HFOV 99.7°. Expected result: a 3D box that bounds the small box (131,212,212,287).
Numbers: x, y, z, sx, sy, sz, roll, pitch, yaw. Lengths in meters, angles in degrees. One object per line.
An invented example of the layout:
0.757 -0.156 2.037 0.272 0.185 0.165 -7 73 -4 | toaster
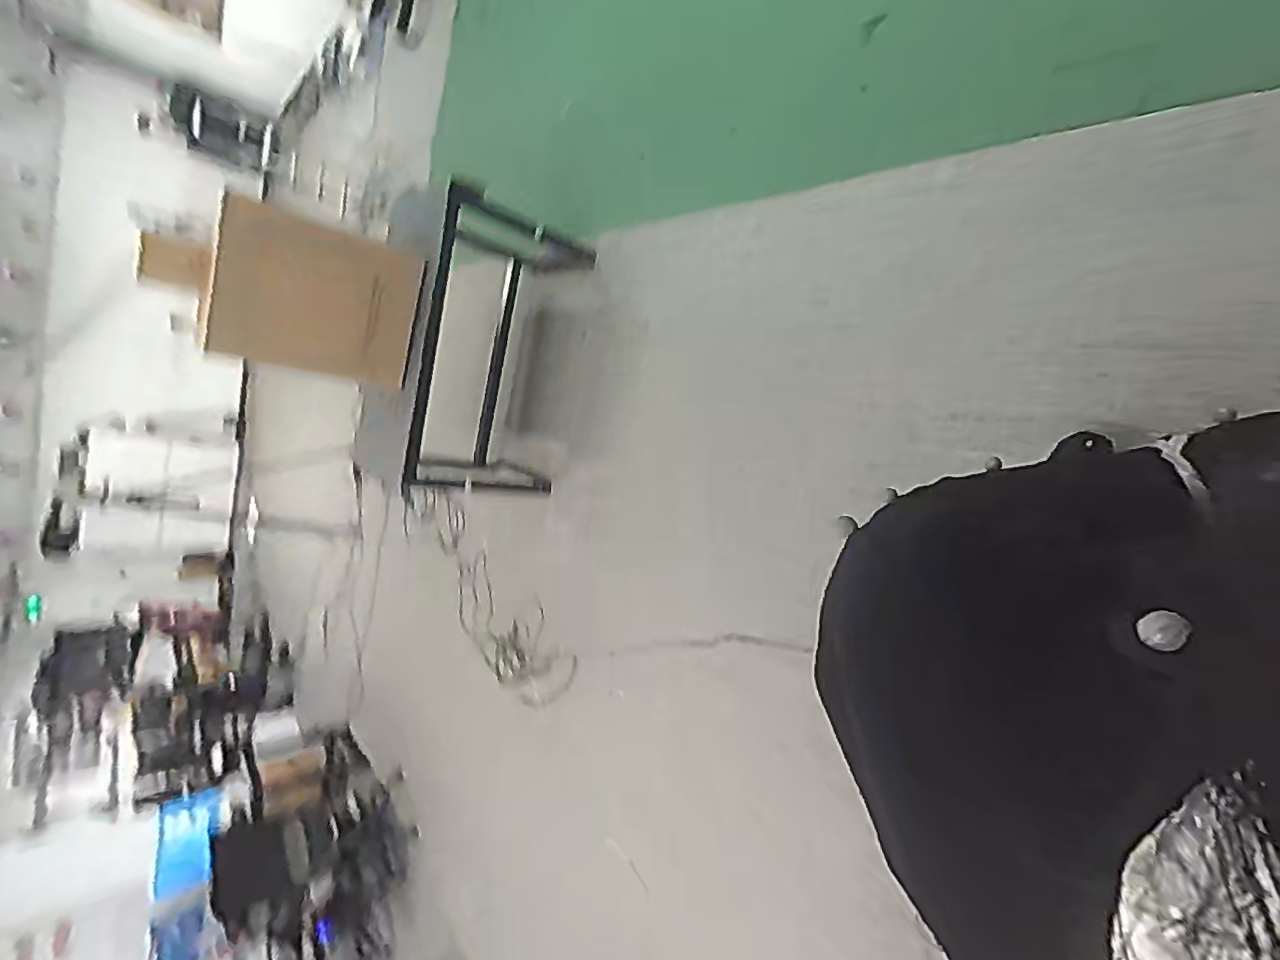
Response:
-1.456 -0.713 1.680 0.179 0.176 0.168 30 108 40 | small box
